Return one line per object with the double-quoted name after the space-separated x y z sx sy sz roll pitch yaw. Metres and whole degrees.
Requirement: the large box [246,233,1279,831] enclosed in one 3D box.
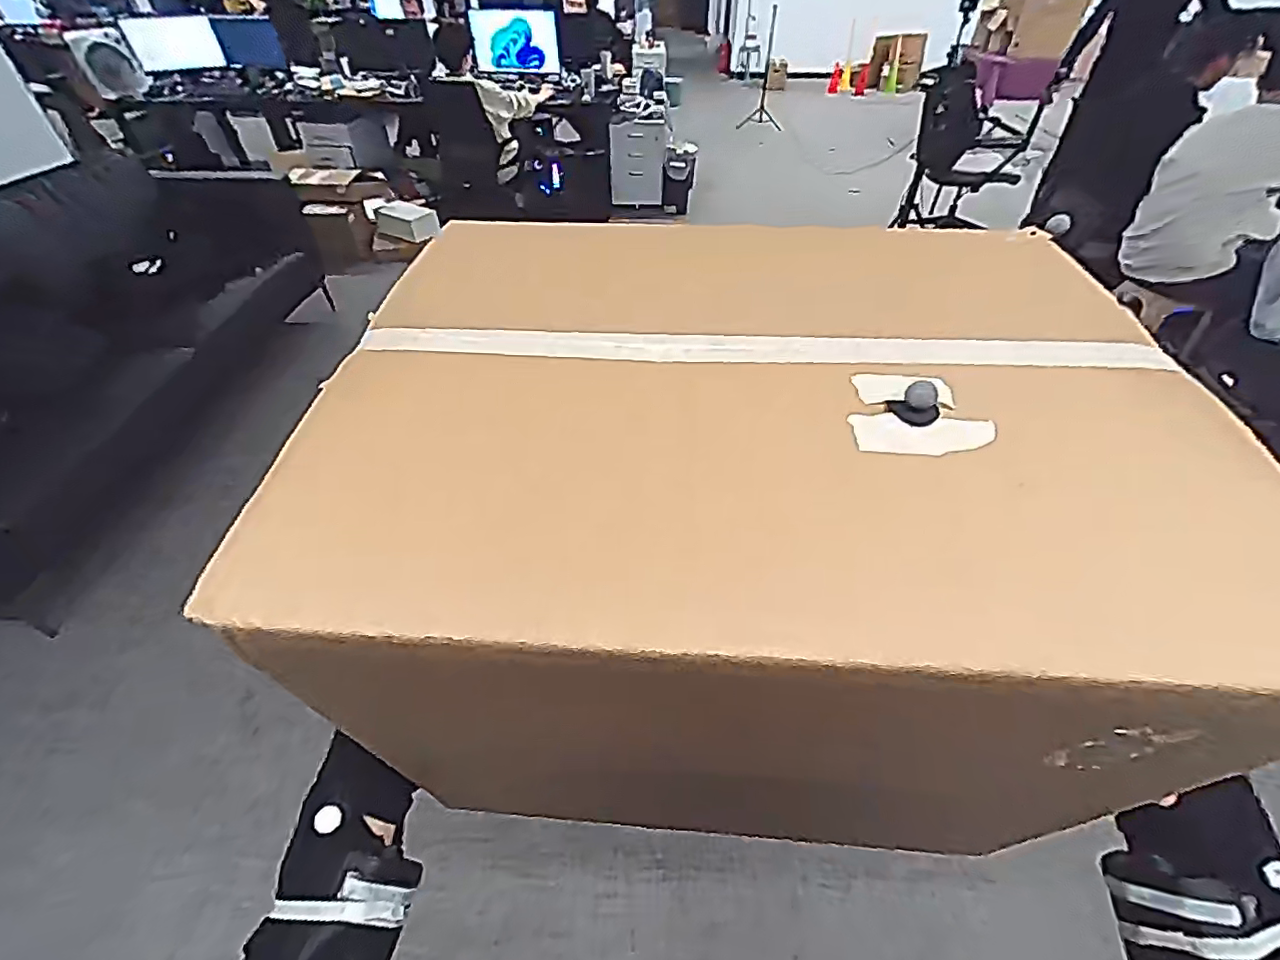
0.060 0.040 0.397 0.408 0.320 0.320 3 49 3 "large box"
